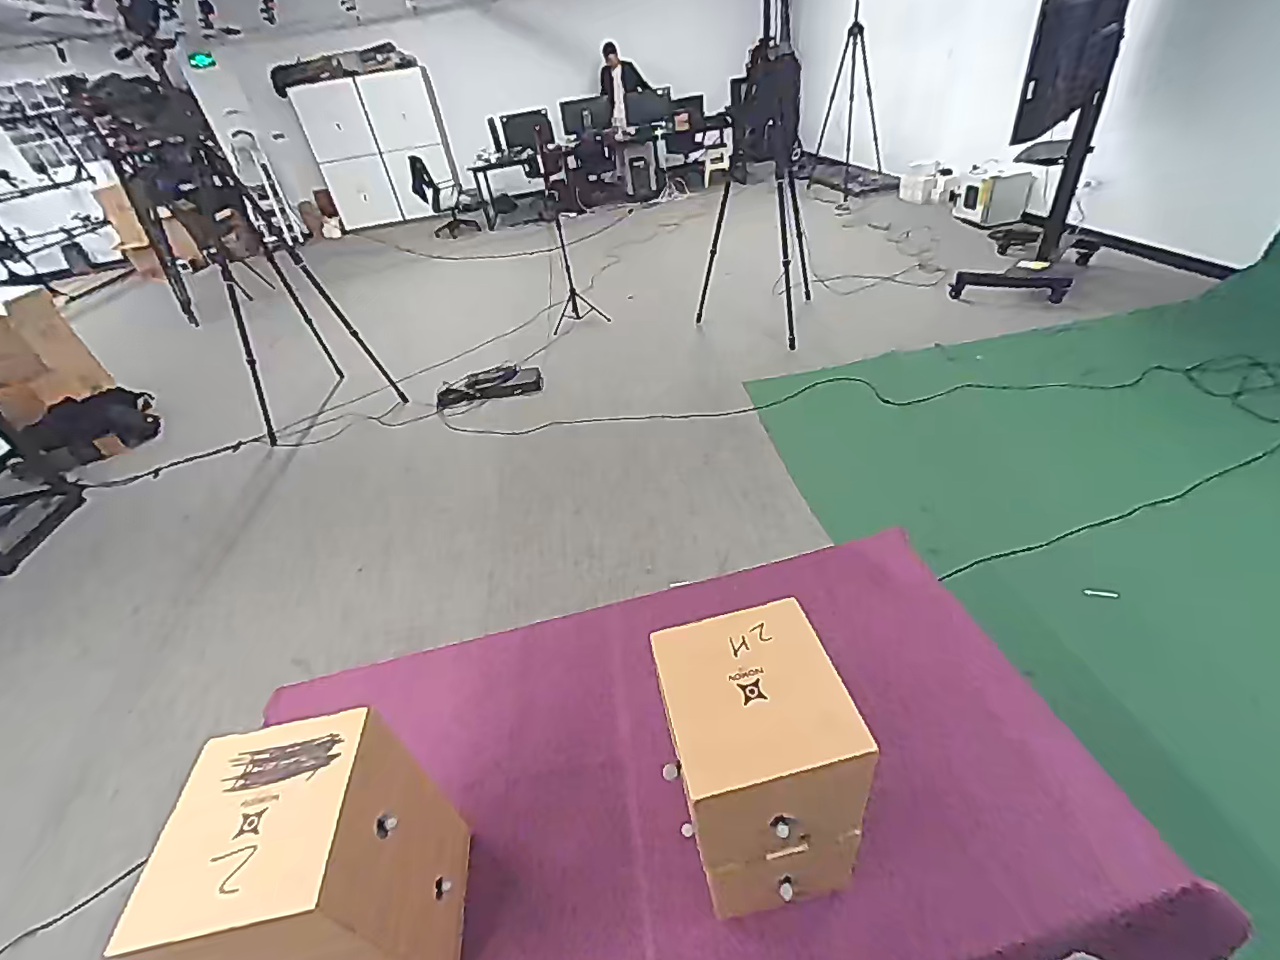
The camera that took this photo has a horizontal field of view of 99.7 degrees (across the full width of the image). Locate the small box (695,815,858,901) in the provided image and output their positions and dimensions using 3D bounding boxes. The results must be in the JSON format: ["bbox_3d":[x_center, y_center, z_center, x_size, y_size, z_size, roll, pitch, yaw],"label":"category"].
[{"bbox_3d":[0.145,0.386,0.667,0.168,0.176,0.179,-12,39,-4],"label":"small box"}]

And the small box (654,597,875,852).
[{"bbox_3d":[0.119,0.258,0.565,0.168,0.176,0.179,-12,38,-4],"label":"small box"}]

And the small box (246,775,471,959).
[{"bbox_3d":[-0.309,0.488,0.637,0.168,0.176,0.179,-12,39,-2],"label":"small box"}]
